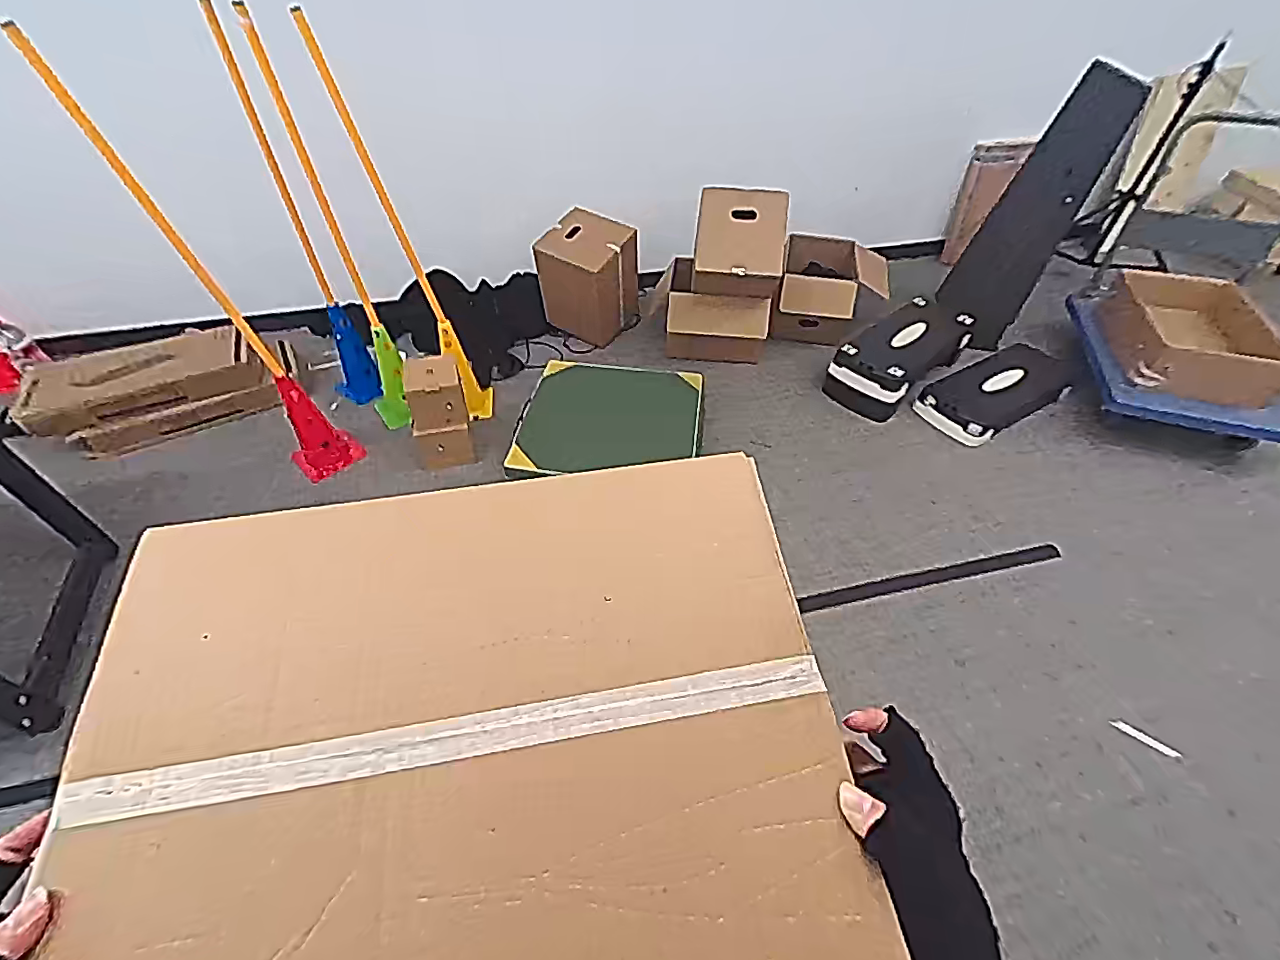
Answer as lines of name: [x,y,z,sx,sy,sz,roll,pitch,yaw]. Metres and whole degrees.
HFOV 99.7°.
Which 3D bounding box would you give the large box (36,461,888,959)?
large box: [-0.100,0.216,0.436,0.408,0.320,0.320,-7,60,-5]
